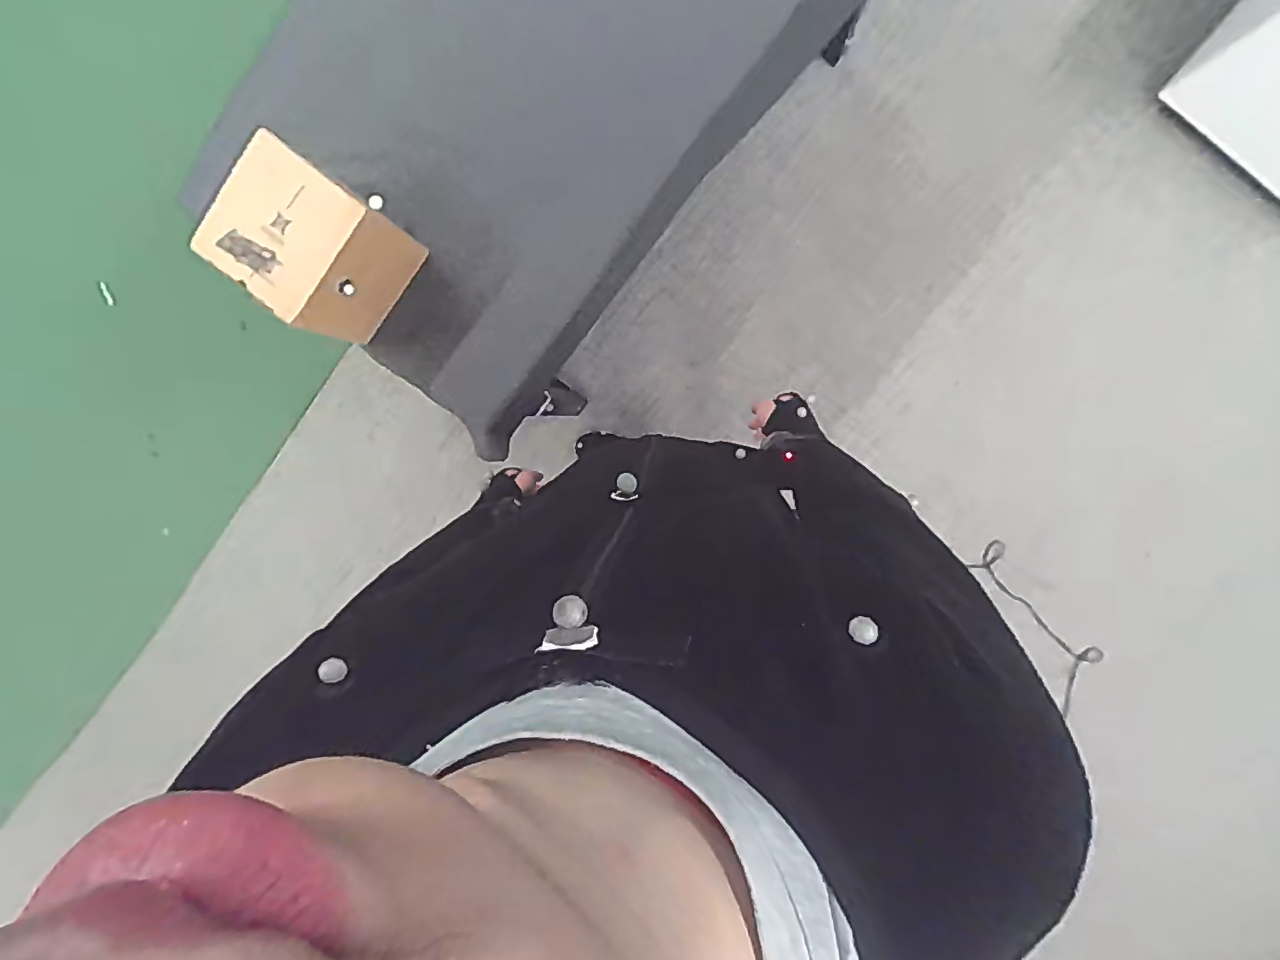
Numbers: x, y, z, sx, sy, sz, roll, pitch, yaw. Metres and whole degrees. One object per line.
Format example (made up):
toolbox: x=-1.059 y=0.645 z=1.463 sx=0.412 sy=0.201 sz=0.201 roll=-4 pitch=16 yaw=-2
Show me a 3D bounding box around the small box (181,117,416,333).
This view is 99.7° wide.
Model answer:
small box: x=-0.438 y=-0.320 z=0.725 sx=0.168 sy=0.176 sz=0.179 roll=38 pitch=97 yaw=-2
